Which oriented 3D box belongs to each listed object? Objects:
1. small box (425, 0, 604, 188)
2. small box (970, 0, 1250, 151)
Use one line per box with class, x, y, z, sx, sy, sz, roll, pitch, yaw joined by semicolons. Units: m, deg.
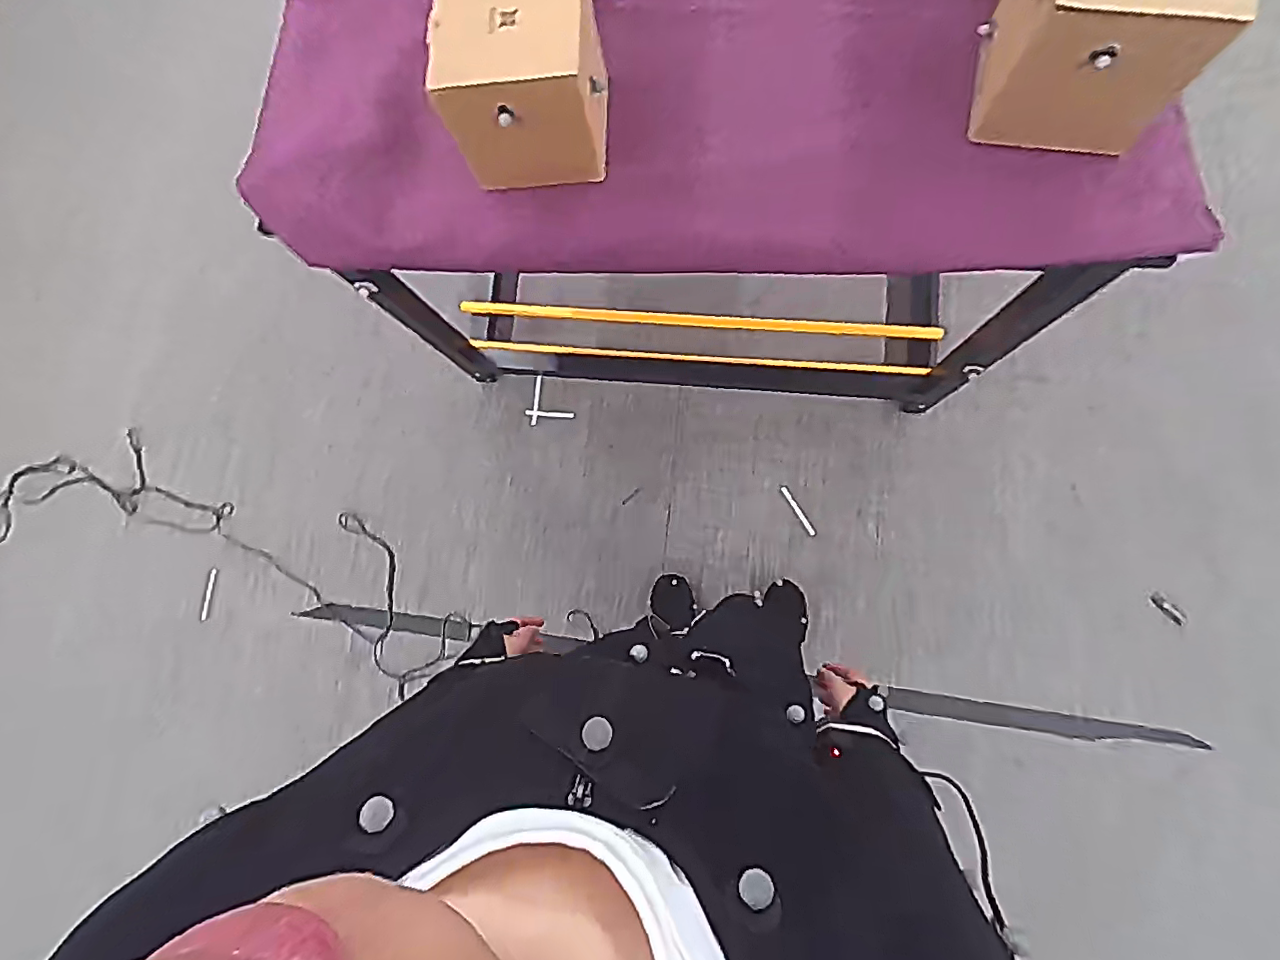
small box;-0.143;-0.496;0.677;0.179;0.176;0.168;-1;81;7
small box;0.498;-0.500;0.597;0.179;0.176;0.168;11;82;8
